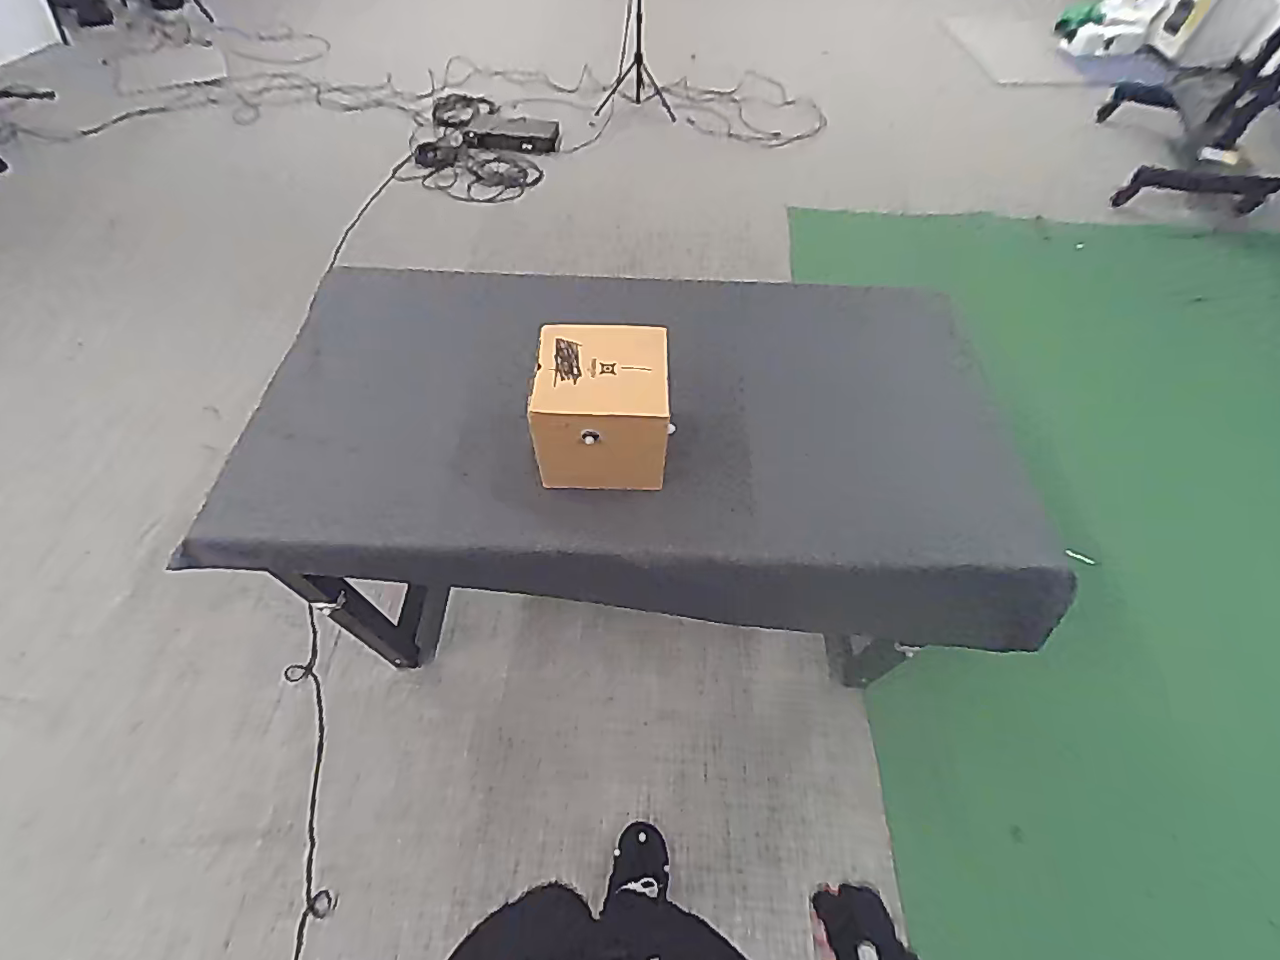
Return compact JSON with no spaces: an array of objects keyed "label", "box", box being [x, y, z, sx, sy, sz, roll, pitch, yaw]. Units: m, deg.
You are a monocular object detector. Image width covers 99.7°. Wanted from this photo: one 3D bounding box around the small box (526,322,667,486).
[{"label":"small box","box":[-0.052,-0.104,0.773,0.179,0.176,0.168,2,57,0]}]
